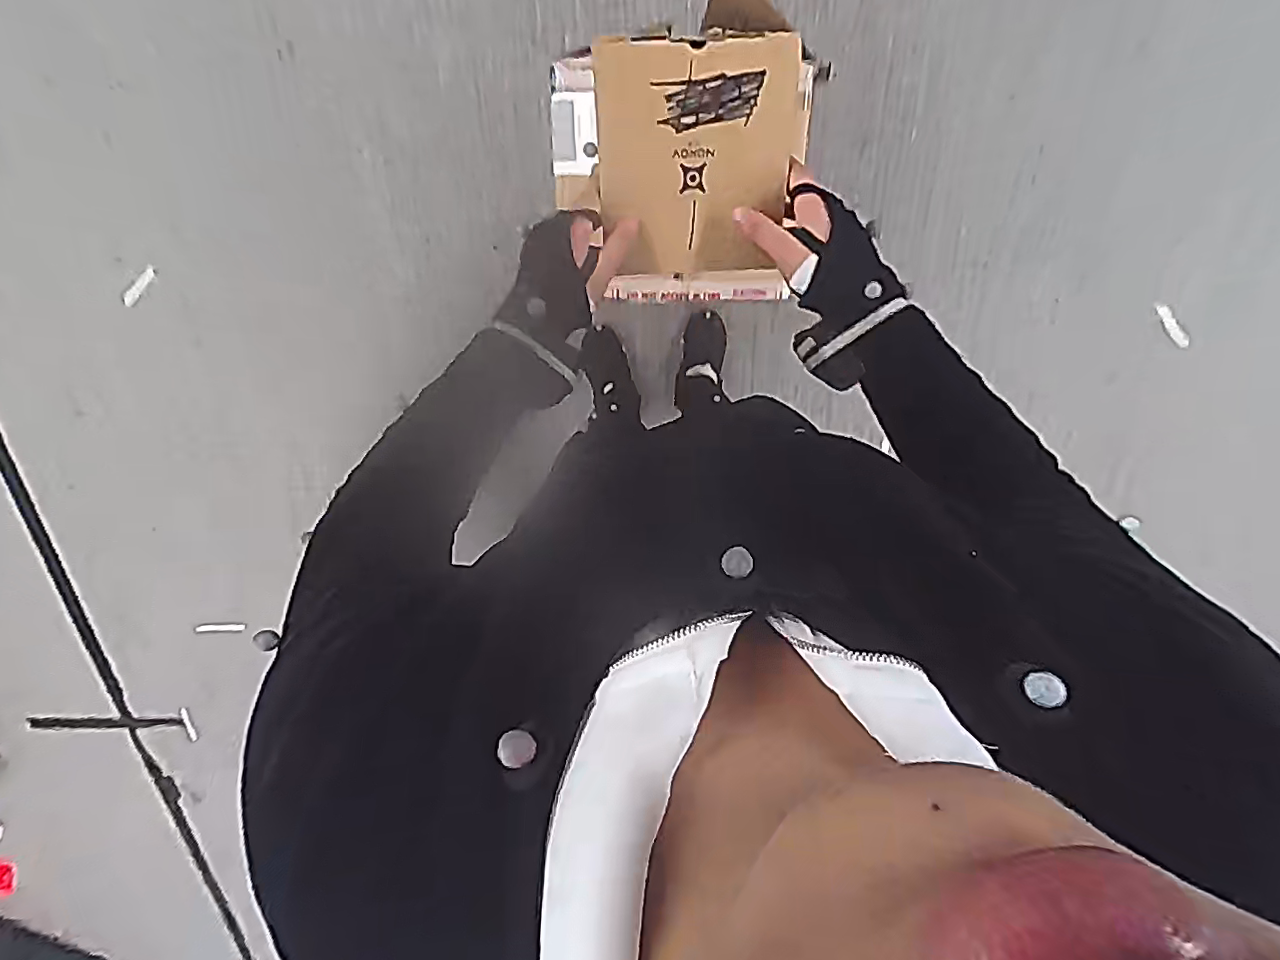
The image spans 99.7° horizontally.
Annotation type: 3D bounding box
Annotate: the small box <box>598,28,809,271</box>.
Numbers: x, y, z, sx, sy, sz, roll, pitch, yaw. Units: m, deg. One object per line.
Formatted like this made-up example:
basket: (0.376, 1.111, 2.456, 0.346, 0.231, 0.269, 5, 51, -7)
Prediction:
small box: (0.045, -0.313, 0.522, 0.168, 0.176, 0.179, -2, 125, -2)
